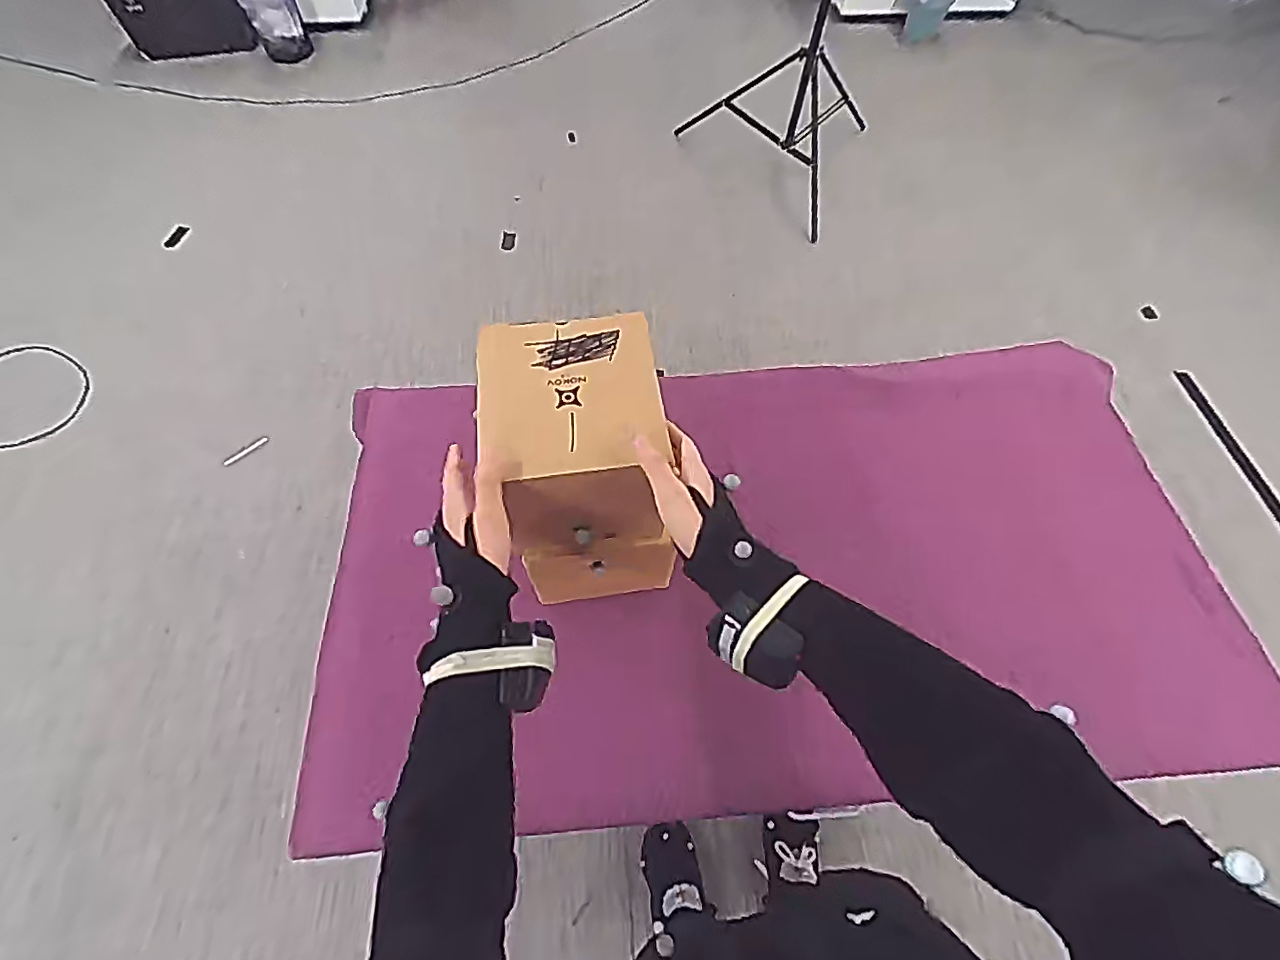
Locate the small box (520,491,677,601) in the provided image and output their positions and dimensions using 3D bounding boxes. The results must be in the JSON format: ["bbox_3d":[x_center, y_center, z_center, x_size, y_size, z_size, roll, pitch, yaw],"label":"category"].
[{"bbox_3d":[-0.057,0.048,0.701,0.179,0.176,0.168,-7,62,-5],"label":"small box"}]

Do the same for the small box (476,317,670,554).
[{"bbox_3d":[-0.067,-0.040,0.561,0.168,0.176,0.179,-7,63,-4],"label":"small box"}]
